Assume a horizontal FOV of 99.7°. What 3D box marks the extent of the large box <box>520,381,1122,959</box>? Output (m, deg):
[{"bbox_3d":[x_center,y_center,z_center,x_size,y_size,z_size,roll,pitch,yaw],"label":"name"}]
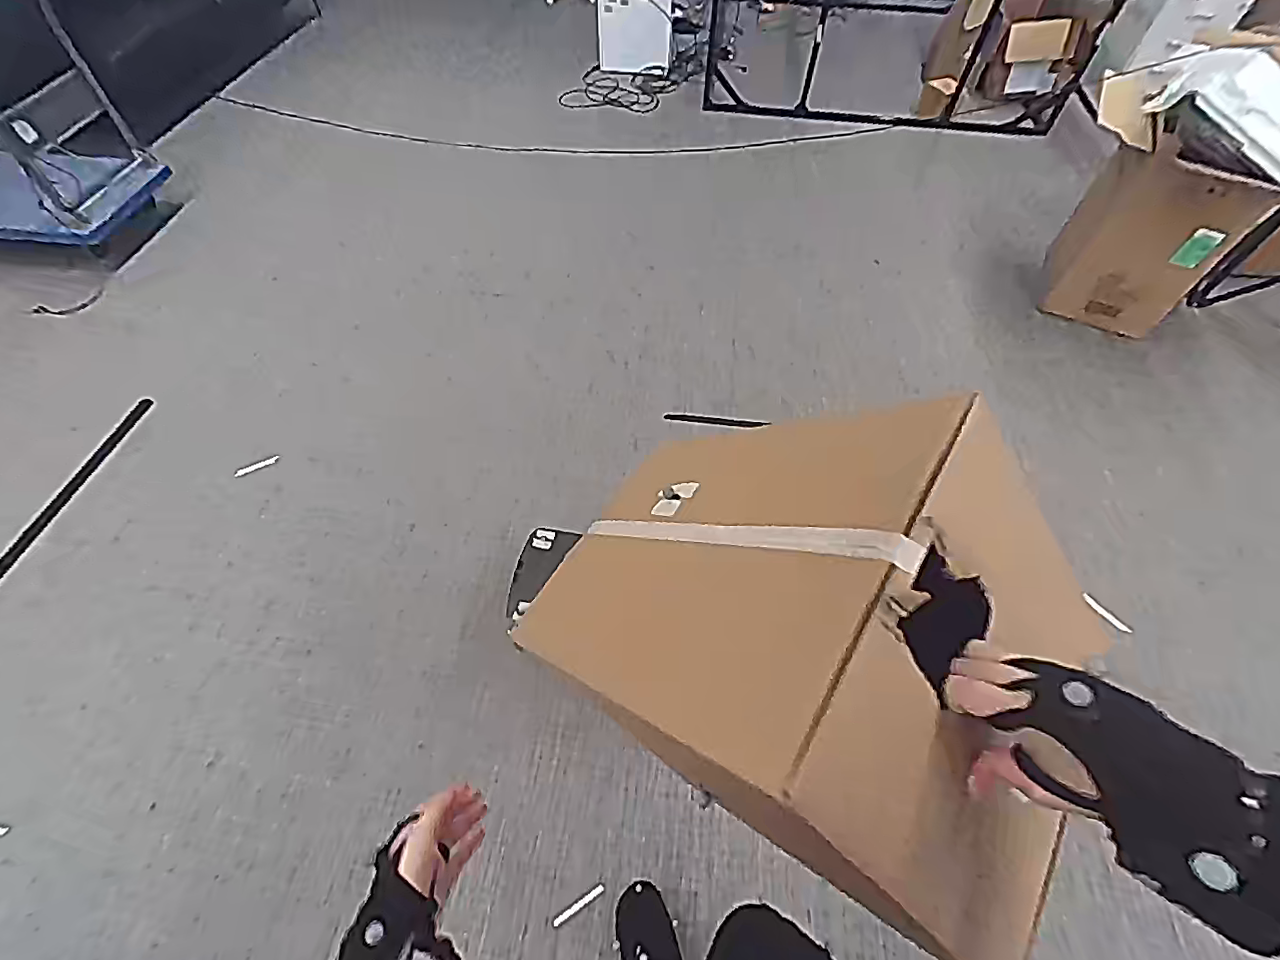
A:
[{"bbox_3d":[0.154,0.155,0.533,0.320,0.408,0.320,47,64,-20],"label":"large box"}]
